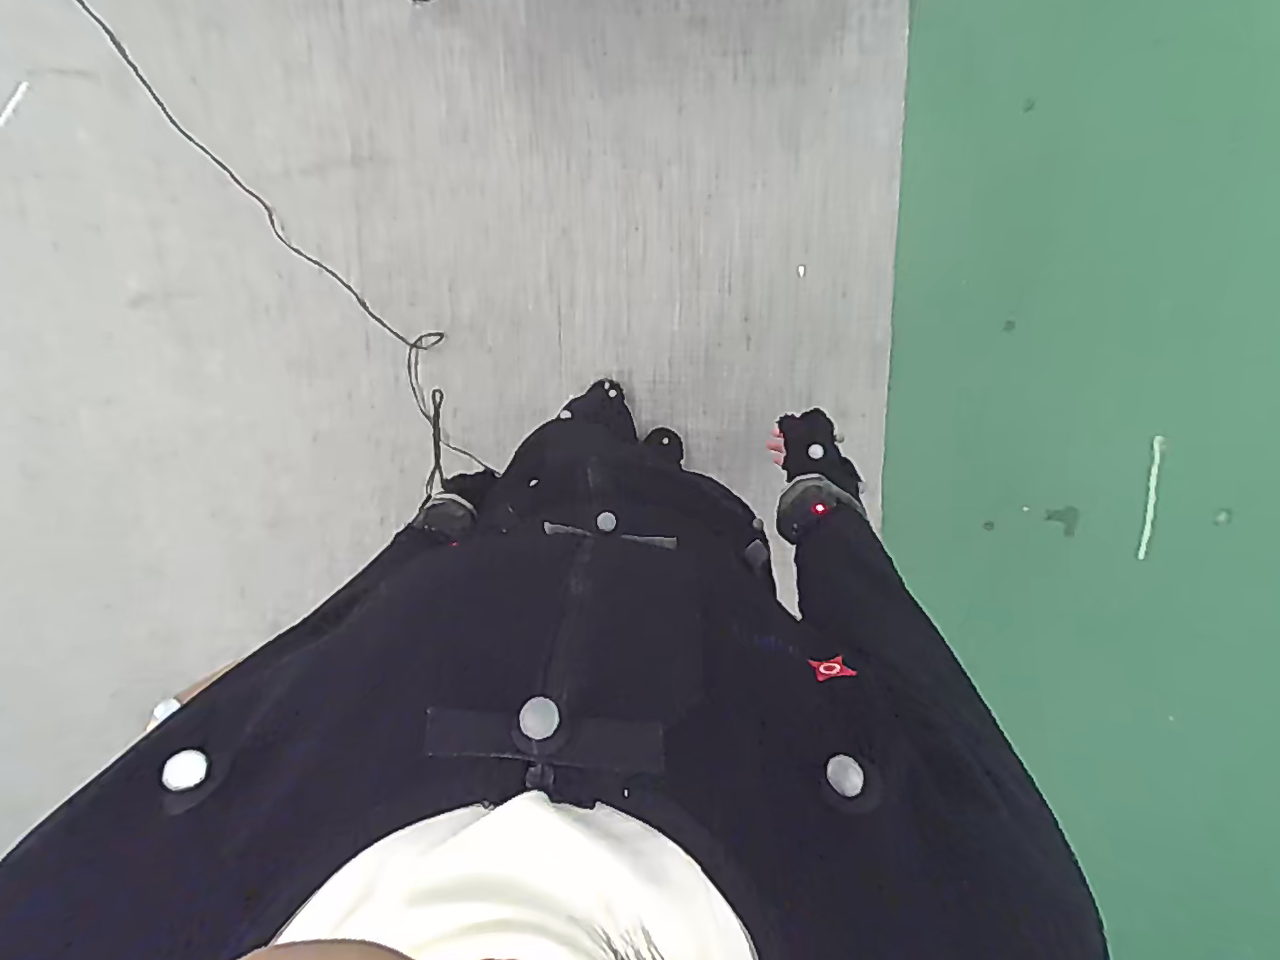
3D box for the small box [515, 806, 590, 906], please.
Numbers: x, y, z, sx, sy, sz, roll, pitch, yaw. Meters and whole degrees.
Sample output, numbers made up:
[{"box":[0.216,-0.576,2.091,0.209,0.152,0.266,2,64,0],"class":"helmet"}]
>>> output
[{"box":[-0.236,1.040,1.507,0.179,0.176,0.168,-3,100,3],"class":"small box"}]
